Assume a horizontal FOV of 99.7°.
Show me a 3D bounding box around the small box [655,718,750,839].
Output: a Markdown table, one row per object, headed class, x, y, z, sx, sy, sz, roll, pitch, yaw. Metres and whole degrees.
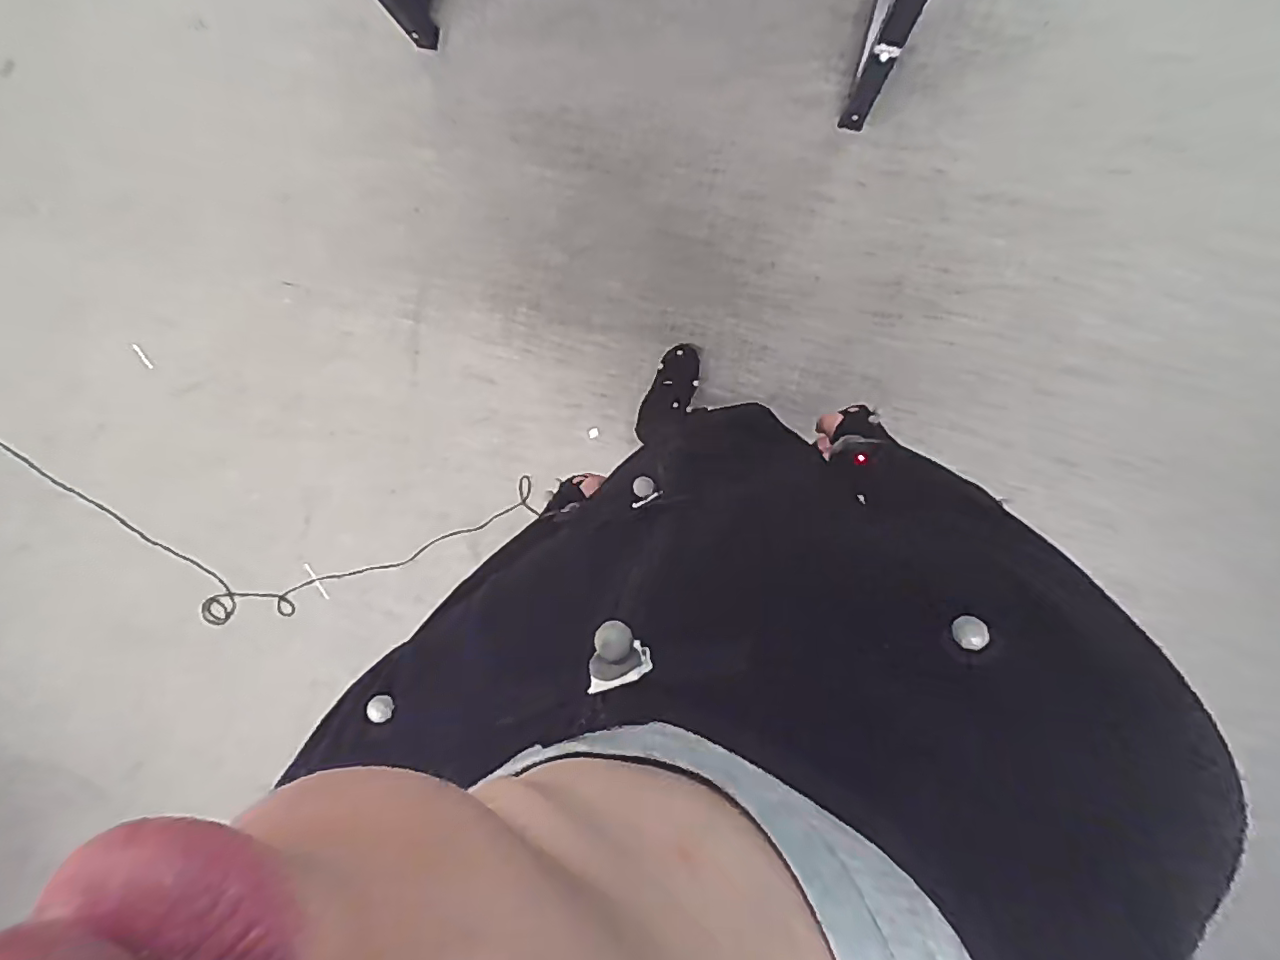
| class | x | y | z | sx | sy | sz | roll | pitch | yaw |
| --- | --- | --- | --- | --- | --- | --- | --- | --- | --- |
| small box | 0.161 | 0.761 | 1.393 | 0.179 | 0.176 | 0.168 | -44 | 92 | 10 |
